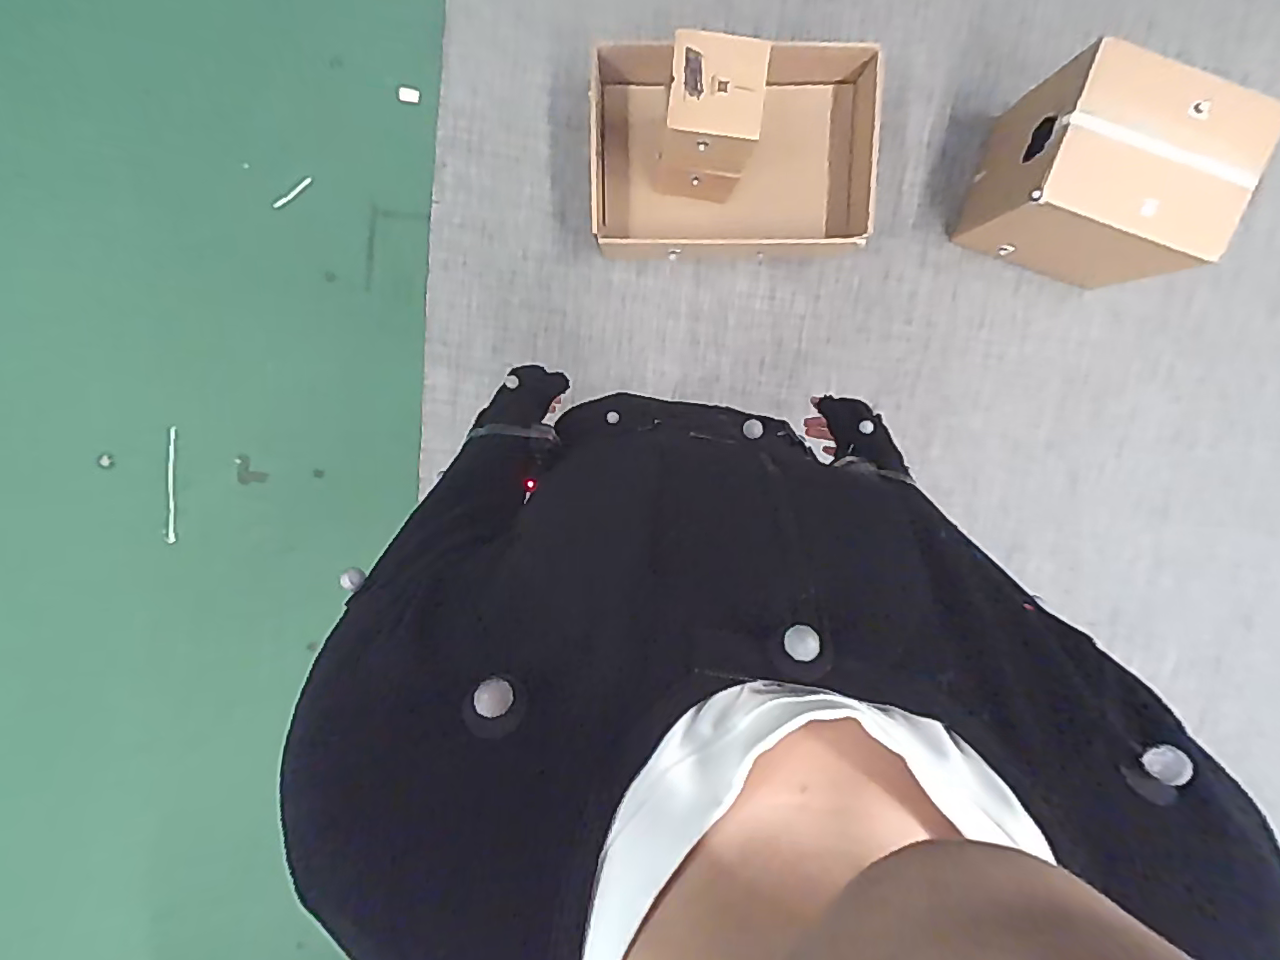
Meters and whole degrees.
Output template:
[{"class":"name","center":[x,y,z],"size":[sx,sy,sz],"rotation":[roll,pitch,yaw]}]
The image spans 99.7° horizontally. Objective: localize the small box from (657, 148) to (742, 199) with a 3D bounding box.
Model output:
[{"class":"small box","center":[0.135,-0.754,1.217],"size":[0.179,0.176,0.168],"rotation":[6,100,-4]}]

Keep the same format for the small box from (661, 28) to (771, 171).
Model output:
[{"class":"small box","center":[0.138,-0.727,1.055],"size":[0.179,0.176,0.168],"rotation":[5,100,-4]}]
